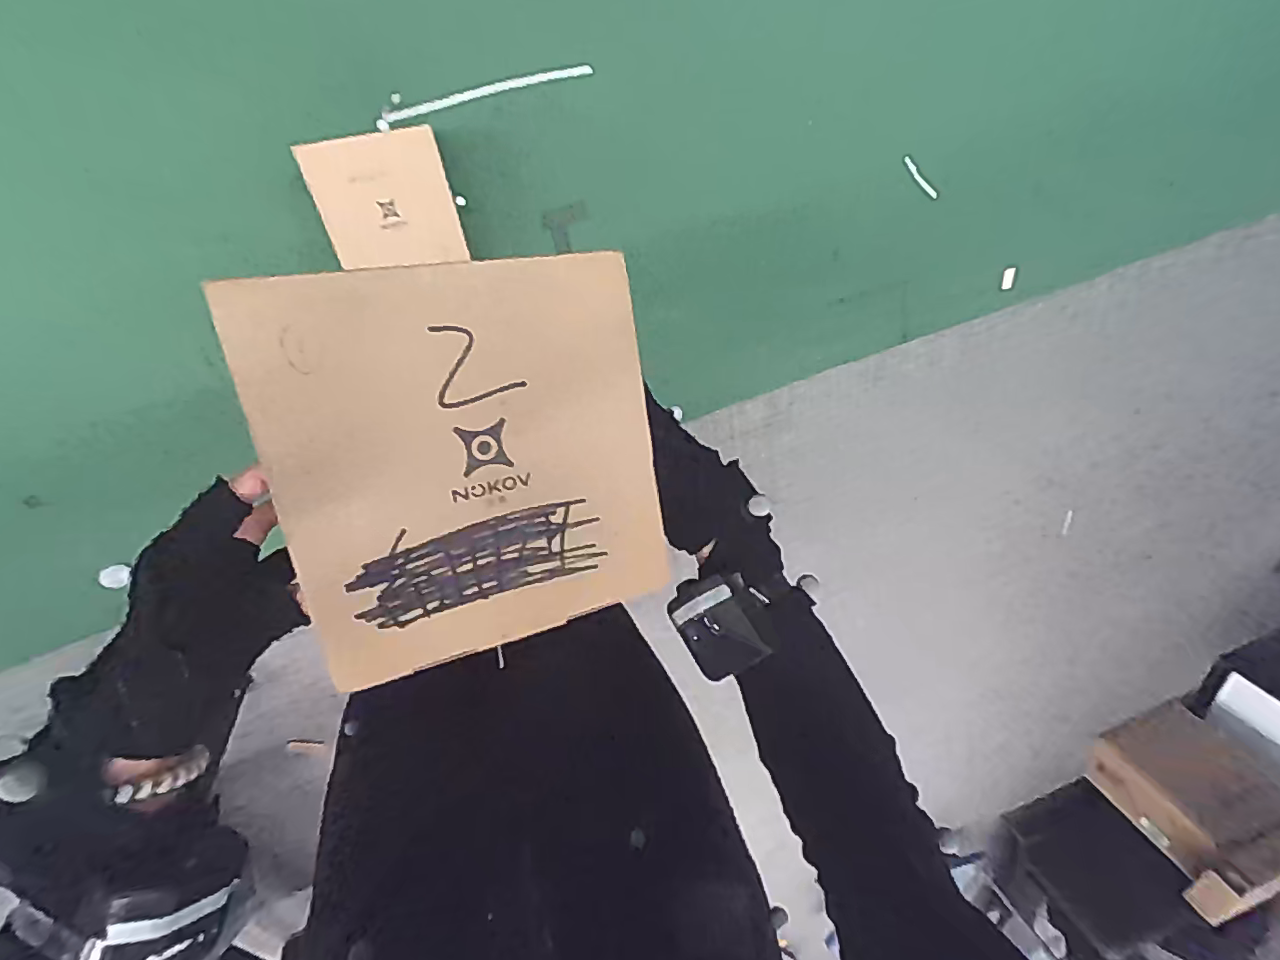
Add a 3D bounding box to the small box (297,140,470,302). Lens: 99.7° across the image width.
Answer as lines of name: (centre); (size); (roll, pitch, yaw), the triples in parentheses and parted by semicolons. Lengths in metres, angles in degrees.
small box: (-0.352, -0.379, 0.780); (0.168, 0.176, 0.179); (-17, 124, -10)
